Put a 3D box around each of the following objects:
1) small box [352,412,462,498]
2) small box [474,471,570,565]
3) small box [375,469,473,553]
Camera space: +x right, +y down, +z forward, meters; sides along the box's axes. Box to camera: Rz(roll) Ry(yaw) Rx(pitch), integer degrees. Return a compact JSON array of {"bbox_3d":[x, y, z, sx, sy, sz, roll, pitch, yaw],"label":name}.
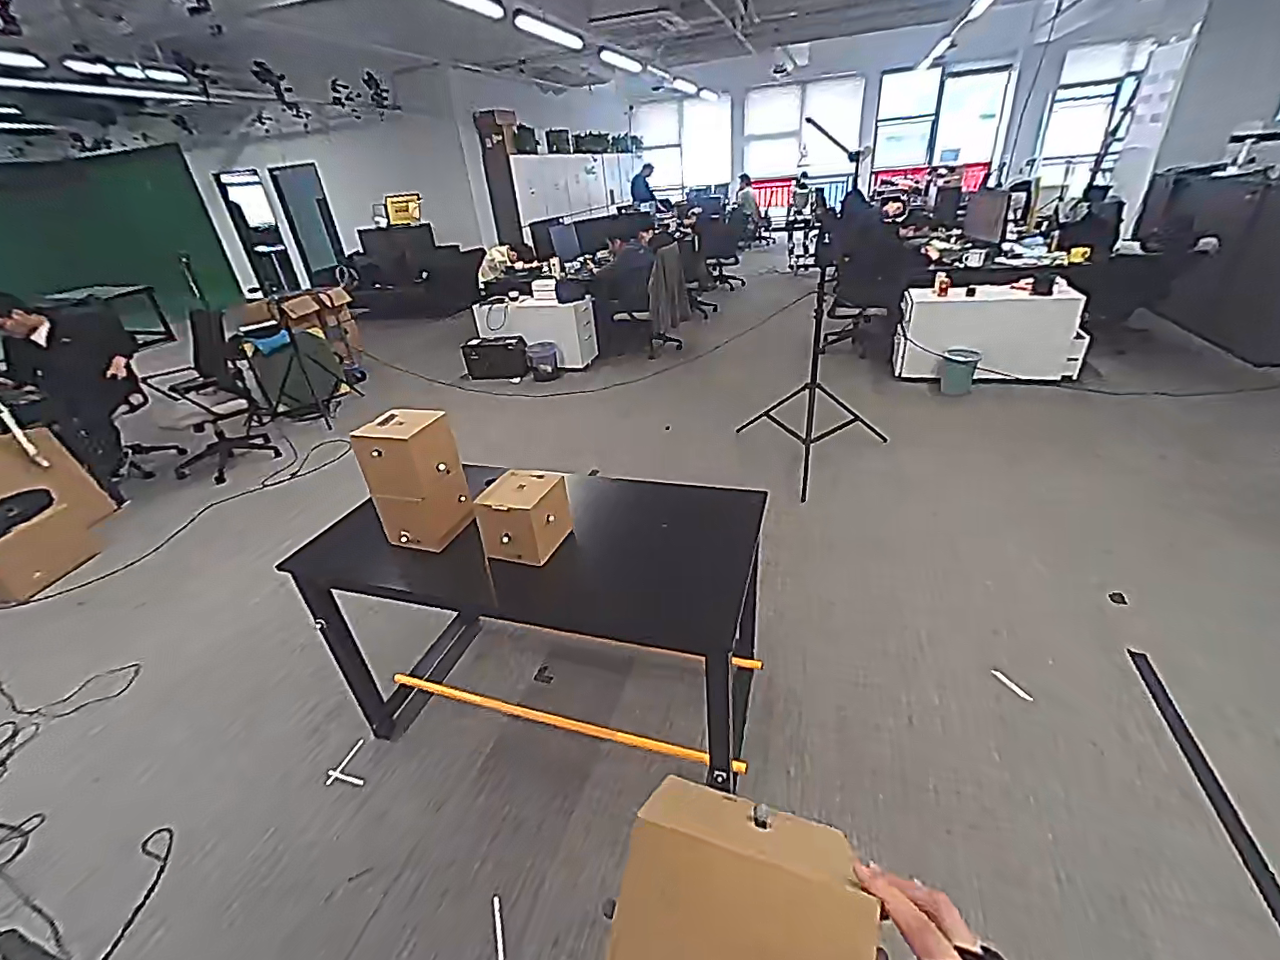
[{"bbox_3d":[-0.592,-0.066,1.395,0.179,0.176,0.168,5,31,17],"label":"small box"},{"bbox_3d":[-0.293,0.096,1.391,0.168,0.176,0.179,6,32,20],"label":"small box"},{"bbox_3d":[-0.578,0.076,1.478,0.168,0.176,0.179,4,32,19],"label":"small box"}]
